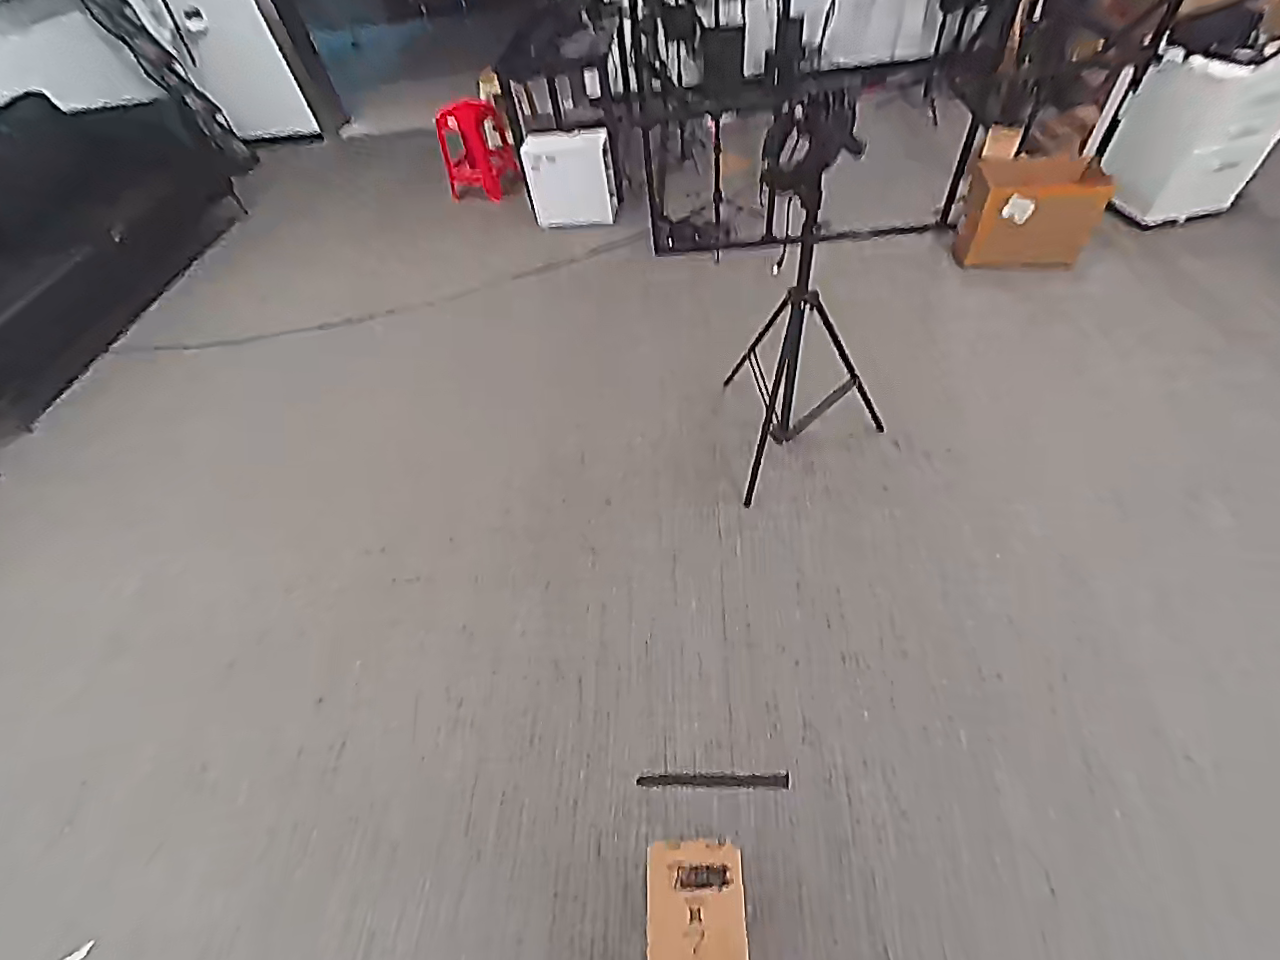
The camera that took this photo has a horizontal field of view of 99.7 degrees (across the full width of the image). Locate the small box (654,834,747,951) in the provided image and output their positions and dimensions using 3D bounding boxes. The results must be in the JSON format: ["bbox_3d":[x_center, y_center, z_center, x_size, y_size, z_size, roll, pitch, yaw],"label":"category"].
[{"bbox_3d":[0.119,0.840,1.102,0.168,0.176,0.179,-7,51,3],"label":"small box"}]
